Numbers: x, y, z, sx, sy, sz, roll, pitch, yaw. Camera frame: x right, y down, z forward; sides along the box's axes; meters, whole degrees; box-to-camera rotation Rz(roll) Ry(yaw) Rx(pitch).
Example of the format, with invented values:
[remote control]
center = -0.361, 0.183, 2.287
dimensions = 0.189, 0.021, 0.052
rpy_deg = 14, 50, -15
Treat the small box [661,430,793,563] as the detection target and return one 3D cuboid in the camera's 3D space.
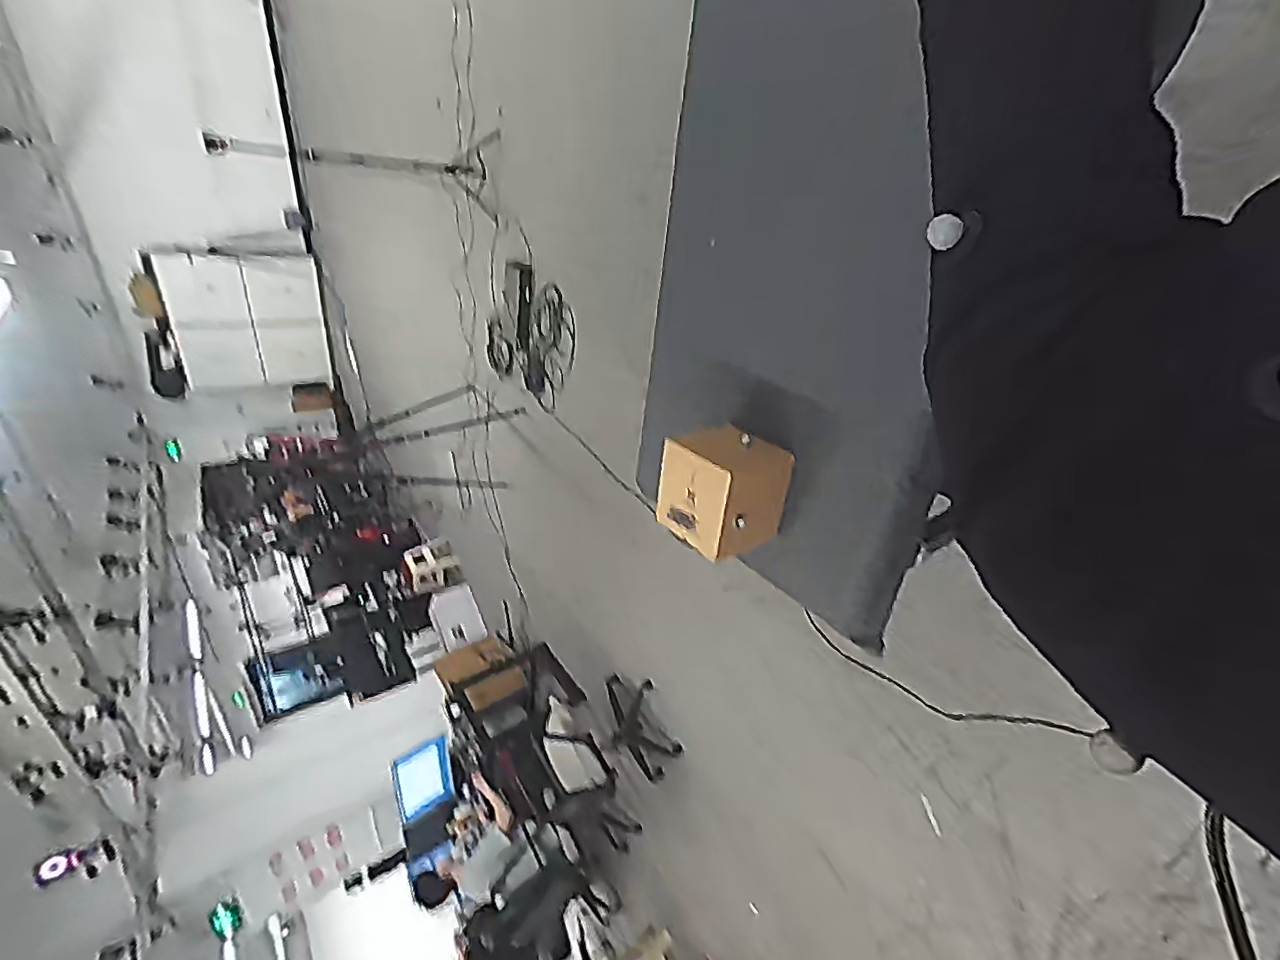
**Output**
[small box]
center = 0.161, 0.022, 1.006
dimensions = 0.168, 0.176, 0.179
rpy_deg = 33, 127, 43
